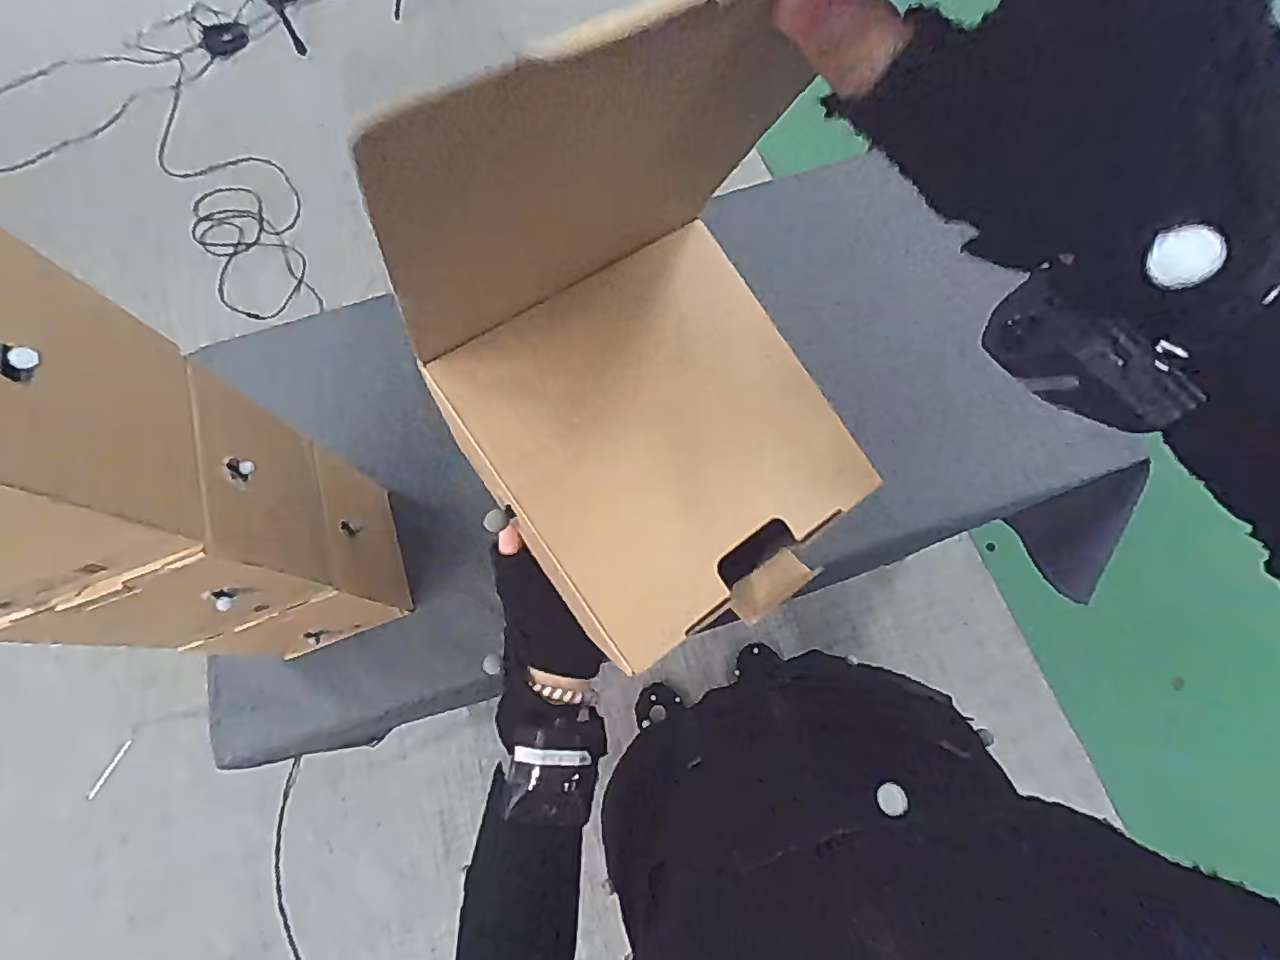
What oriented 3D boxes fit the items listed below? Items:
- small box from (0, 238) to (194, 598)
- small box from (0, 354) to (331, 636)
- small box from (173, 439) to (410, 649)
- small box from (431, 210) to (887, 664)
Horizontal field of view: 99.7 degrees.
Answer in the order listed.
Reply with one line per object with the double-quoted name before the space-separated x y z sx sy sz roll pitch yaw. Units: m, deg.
"small box" -0.413 -0.034 0.321 0.168 0.176 0.179 -21 71 -6
"small box" -0.402 0.027 0.474 0.168 0.176 0.179 -20 71 -5
"small box" -0.394 0.083 0.626 0.168 0.176 0.179 -20 71 -4
"small box" 0.000 -0.016 0.337 0.168 0.176 0.179 -33 89 -14
